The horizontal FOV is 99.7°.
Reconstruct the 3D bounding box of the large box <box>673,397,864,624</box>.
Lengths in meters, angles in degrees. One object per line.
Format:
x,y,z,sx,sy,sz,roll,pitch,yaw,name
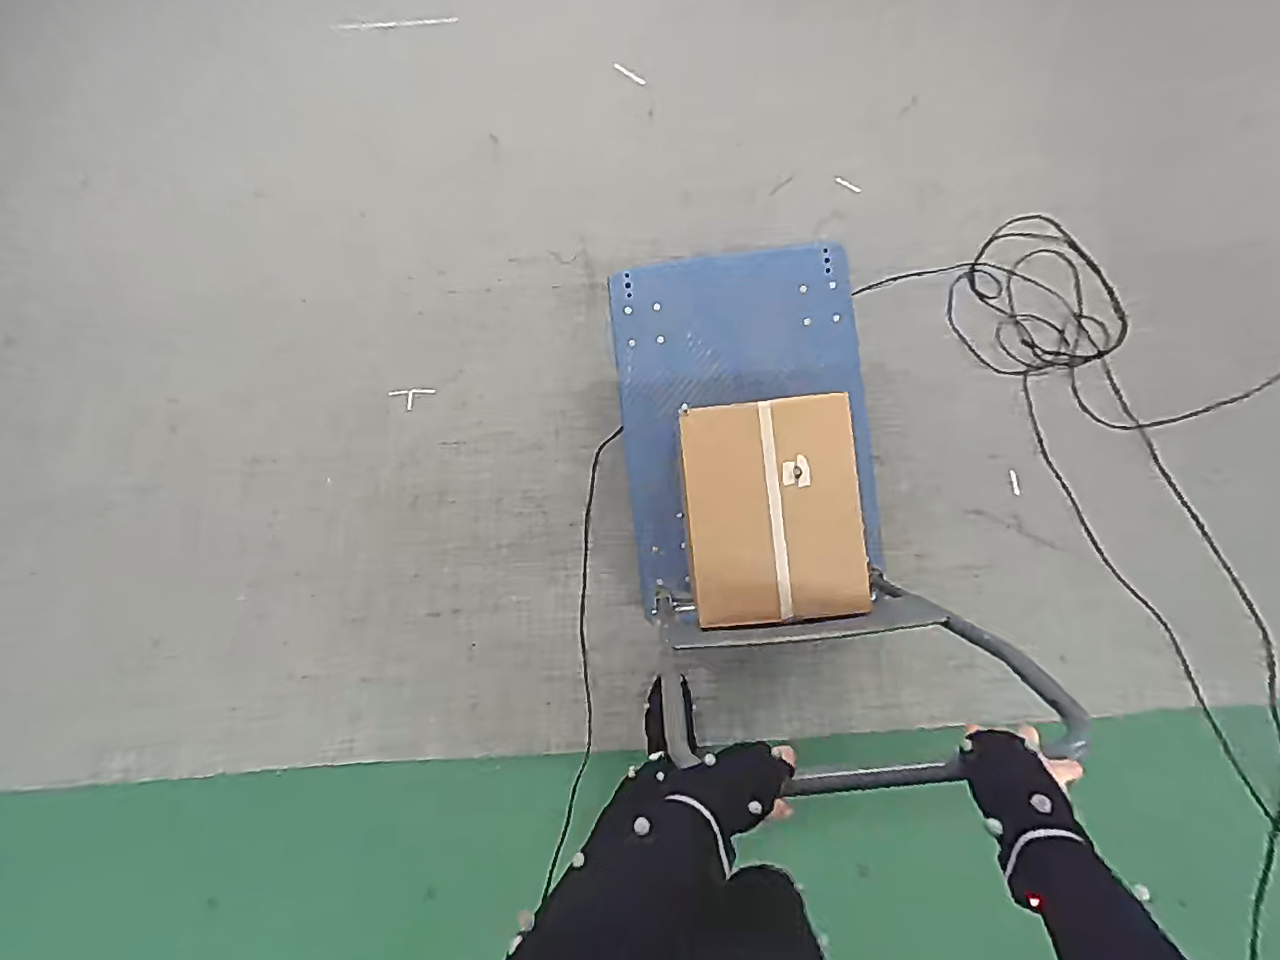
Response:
0.247,0.064,1.162,0.320,0.320,0.408,-6,87,1,large box
